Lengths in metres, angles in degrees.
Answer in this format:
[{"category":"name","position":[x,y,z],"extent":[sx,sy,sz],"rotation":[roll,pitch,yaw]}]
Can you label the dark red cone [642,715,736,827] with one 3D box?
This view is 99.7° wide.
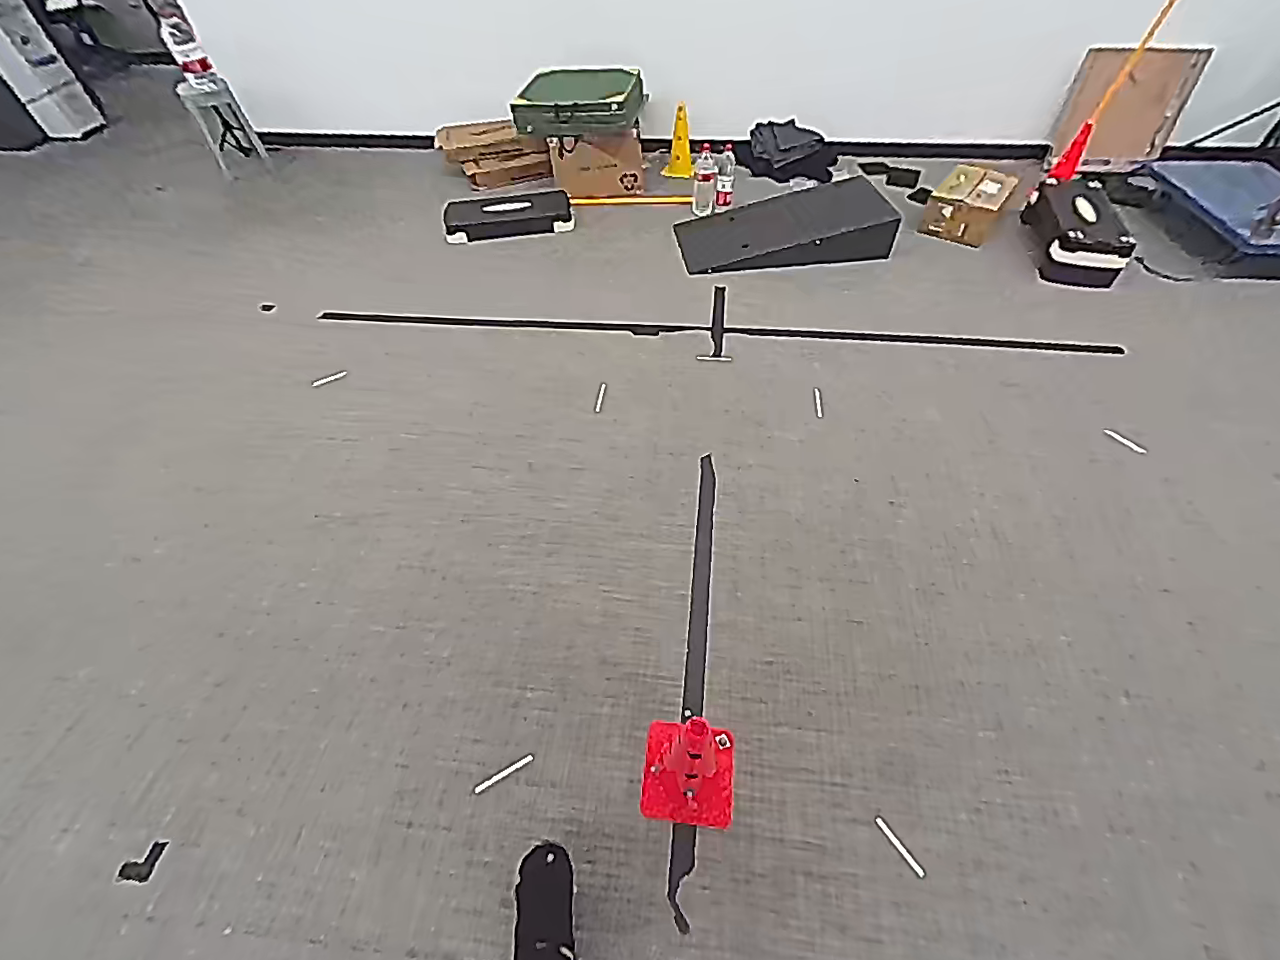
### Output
[{"category":"dark red cone","position":[0.103,0.534,1.060],"extent":[0.201,0.394,0.202],"rotation":[4,51,6]}]
